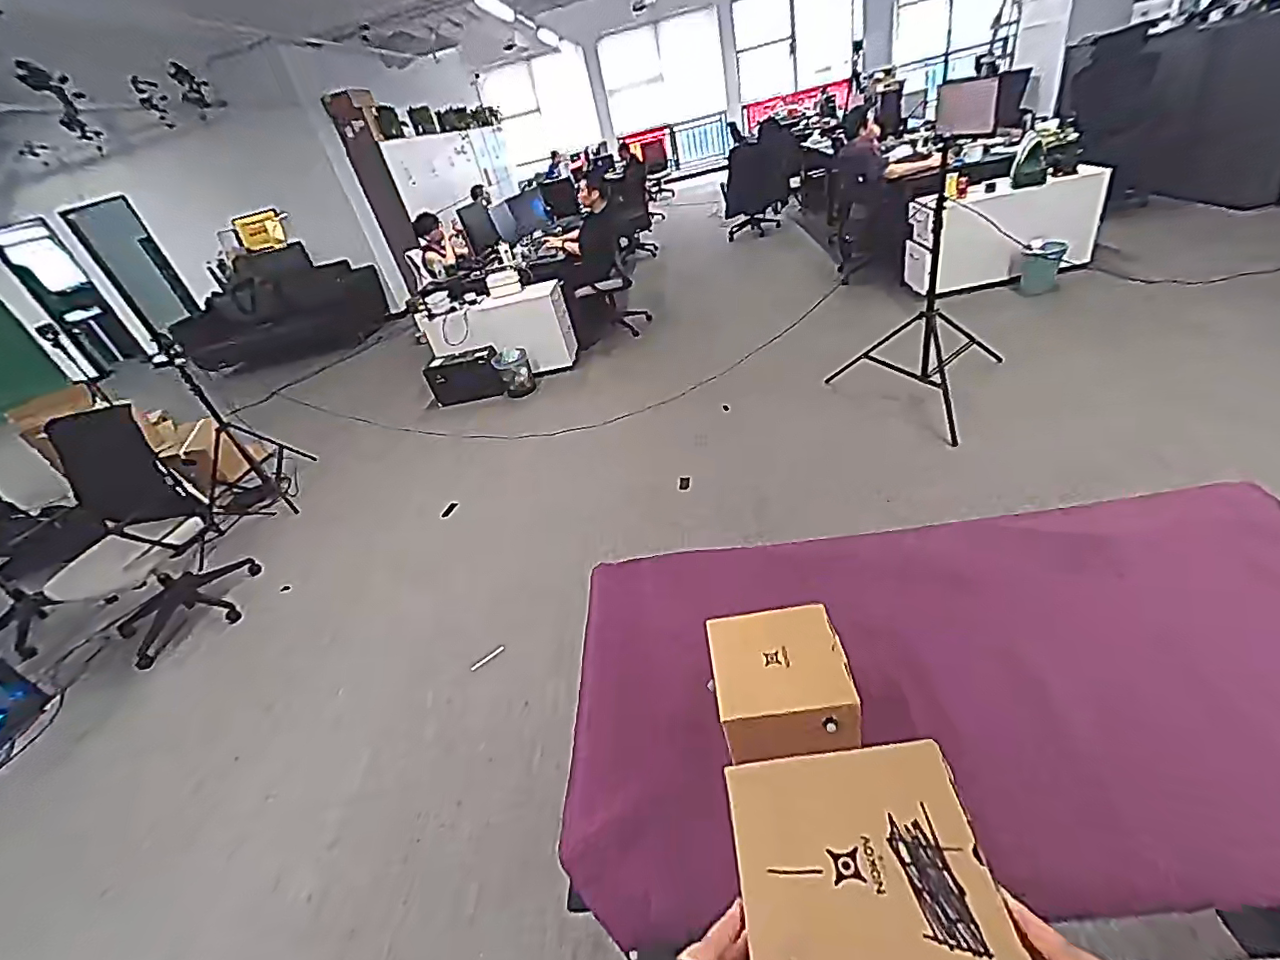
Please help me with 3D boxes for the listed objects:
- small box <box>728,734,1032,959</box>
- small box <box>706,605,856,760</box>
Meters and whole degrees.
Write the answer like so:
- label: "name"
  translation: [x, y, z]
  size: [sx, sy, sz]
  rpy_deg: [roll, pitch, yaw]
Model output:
- label: "small box"
  translation: [0.178, 0.337, 0.444]
  size: [0.179, 0.176, 0.168]
  rpy_deg: [-12, 36, 9]
- label: "small box"
  translation: [0.201, 0.310, 0.783]
  size: [0.179, 0.176, 0.168]
  rpy_deg: [-10, 34, 6]
